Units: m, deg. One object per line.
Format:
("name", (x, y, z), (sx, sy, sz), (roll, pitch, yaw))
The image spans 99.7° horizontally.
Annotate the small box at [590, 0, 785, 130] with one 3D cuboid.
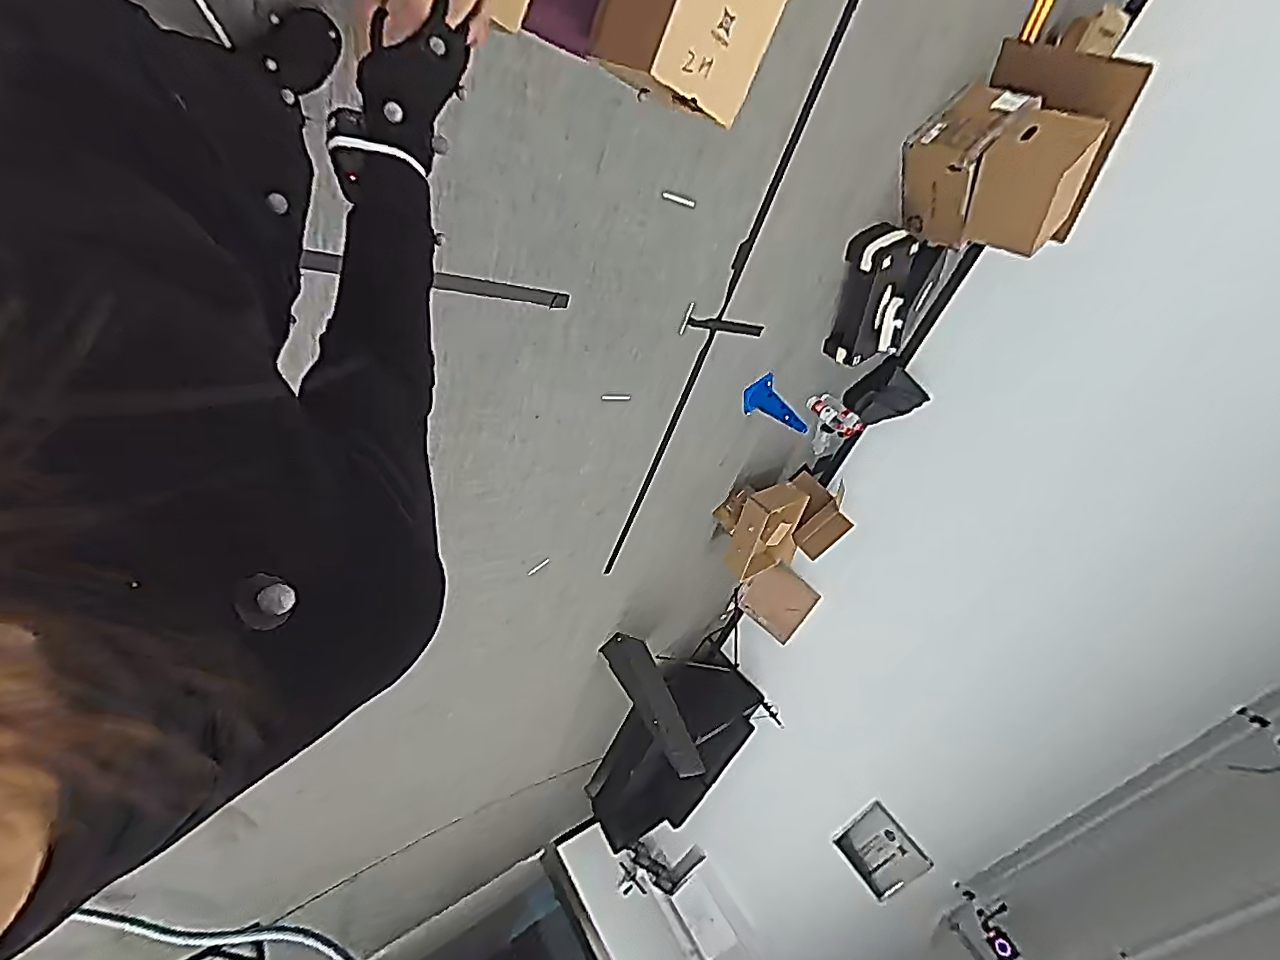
("small box", (0.058, -0.622, 0.734), (0.168, 0.176, 0.179), (-1, 128, -43))
